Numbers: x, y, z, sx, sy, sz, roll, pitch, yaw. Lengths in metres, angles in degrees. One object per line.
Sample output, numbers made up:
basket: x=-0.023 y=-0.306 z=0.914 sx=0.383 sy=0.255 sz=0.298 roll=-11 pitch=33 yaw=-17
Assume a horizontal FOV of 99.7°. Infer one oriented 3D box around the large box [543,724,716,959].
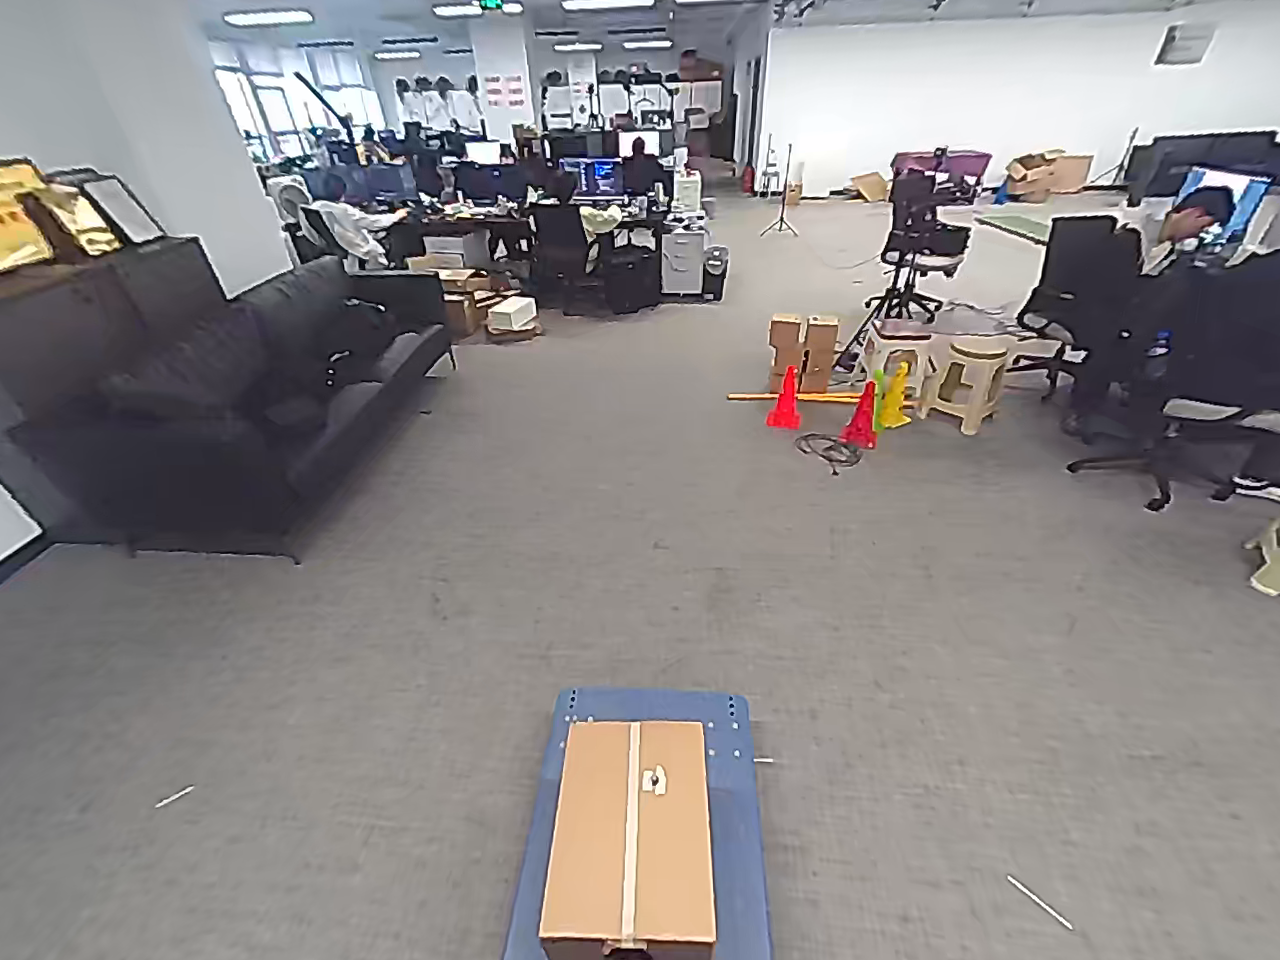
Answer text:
large box: x=-0.010 y=0.812 z=1.194 sx=0.320 sy=0.320 sz=0.408 roll=-1 pitch=35 yaw=3
